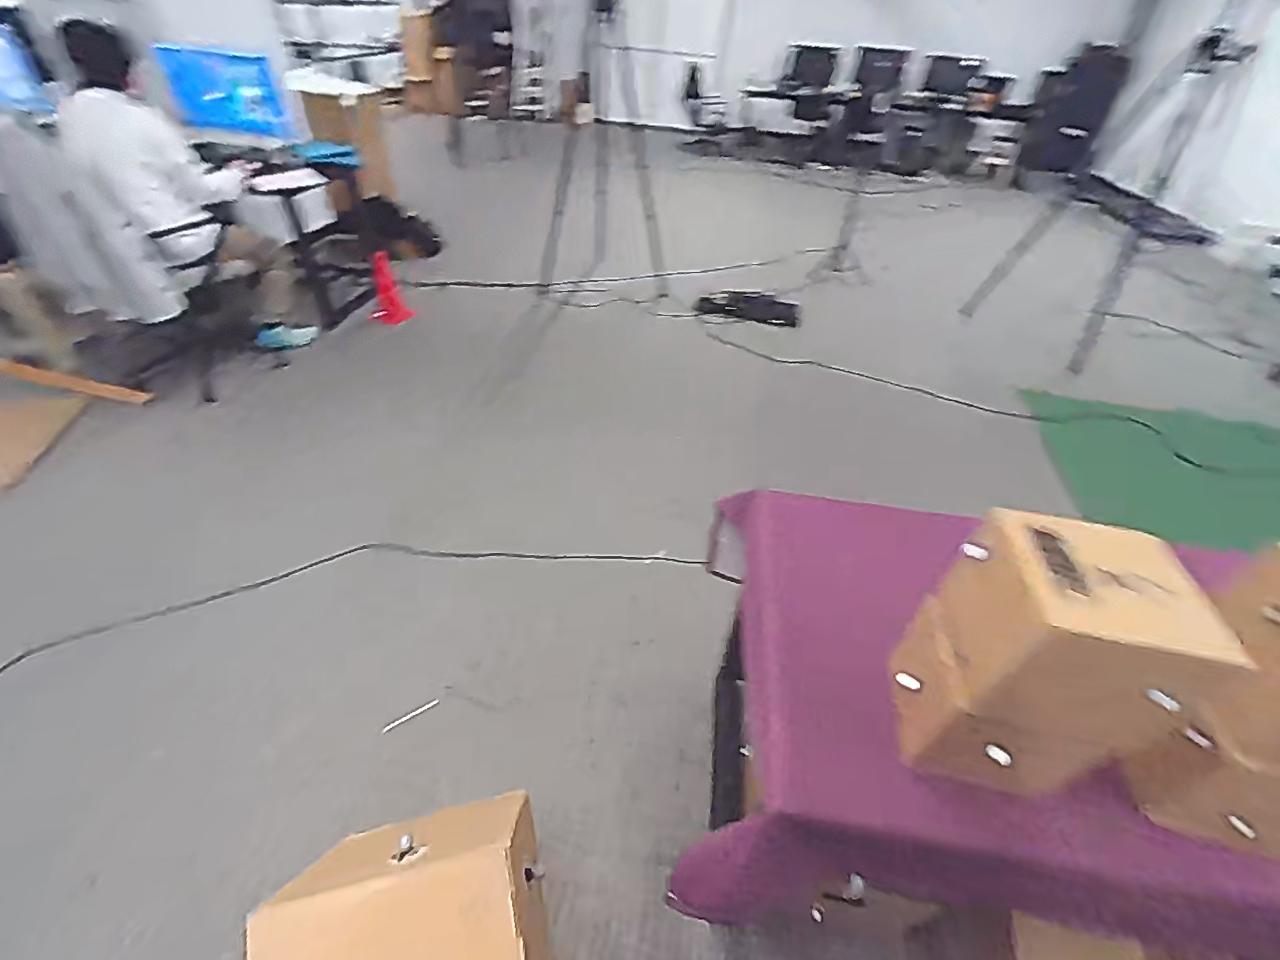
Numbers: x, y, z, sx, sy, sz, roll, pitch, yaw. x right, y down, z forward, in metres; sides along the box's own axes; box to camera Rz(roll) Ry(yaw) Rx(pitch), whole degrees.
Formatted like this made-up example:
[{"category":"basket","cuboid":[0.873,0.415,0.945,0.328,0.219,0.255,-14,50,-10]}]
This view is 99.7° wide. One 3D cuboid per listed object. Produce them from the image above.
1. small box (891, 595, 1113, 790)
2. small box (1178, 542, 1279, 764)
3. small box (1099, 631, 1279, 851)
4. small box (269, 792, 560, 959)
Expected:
[{"category":"small box","cuboid":[0.449,0.281,0.714,0.179,0.176,0.168,9,42,7]},{"category":"small box","cuboid":[0.754,0.201,0.583,0.168,0.176,0.179,13,43,11]},{"category":"small box","cuboid":[0.742,0.329,0.687,0.168,0.176,0.179,13,43,10]},{"category":"small box","cuboid":[-0.159,0.374,0.433,0.179,0.176,0.168,-9,74,-8]}]
